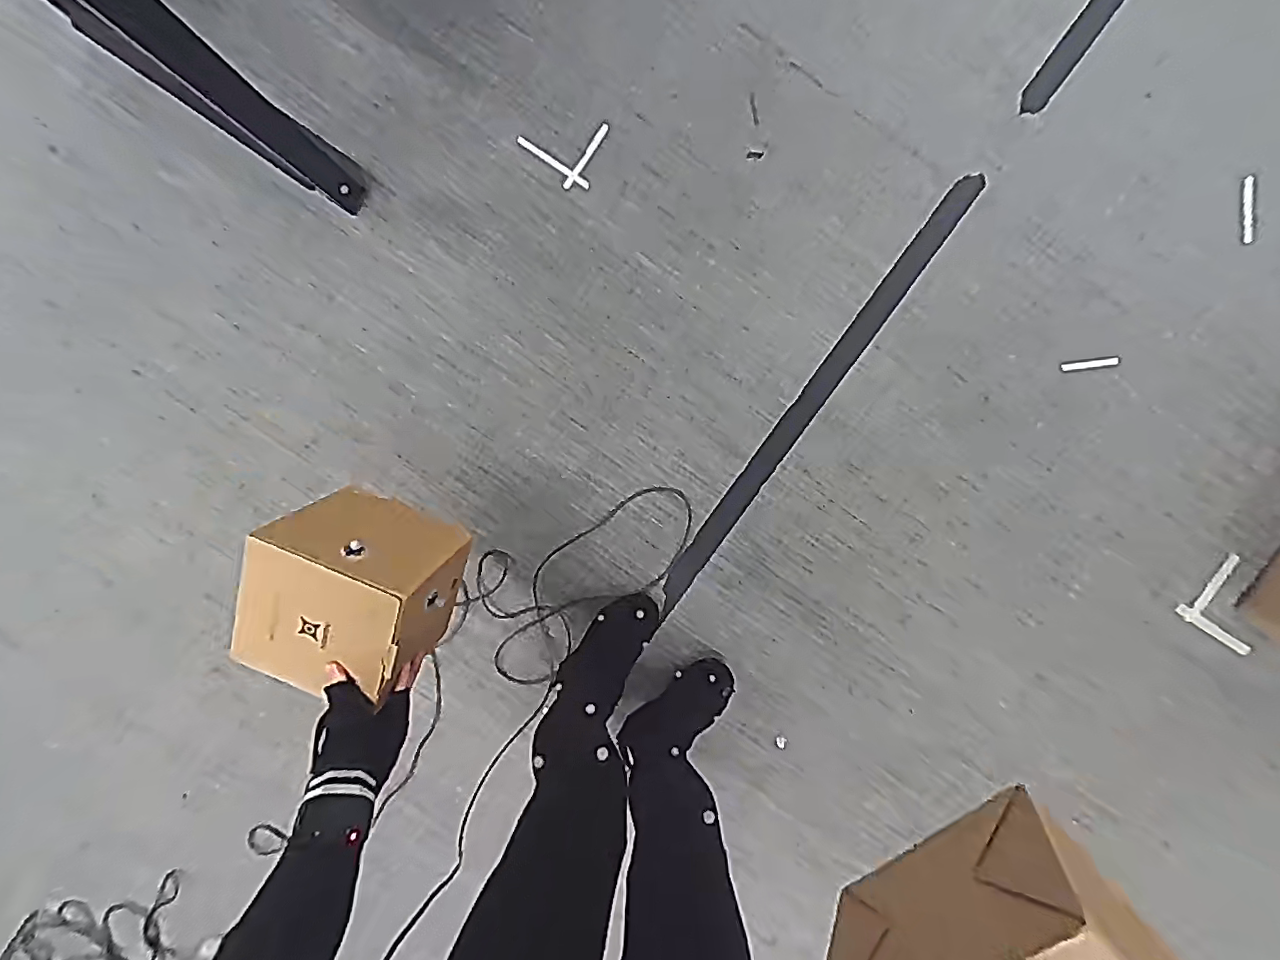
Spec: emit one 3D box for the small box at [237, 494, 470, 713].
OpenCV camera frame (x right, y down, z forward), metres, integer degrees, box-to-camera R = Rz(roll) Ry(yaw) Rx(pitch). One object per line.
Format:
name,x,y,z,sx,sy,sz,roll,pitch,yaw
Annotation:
small box,-0.333,0.135,0.654,0.179,0.176,0.168,22,108,2
